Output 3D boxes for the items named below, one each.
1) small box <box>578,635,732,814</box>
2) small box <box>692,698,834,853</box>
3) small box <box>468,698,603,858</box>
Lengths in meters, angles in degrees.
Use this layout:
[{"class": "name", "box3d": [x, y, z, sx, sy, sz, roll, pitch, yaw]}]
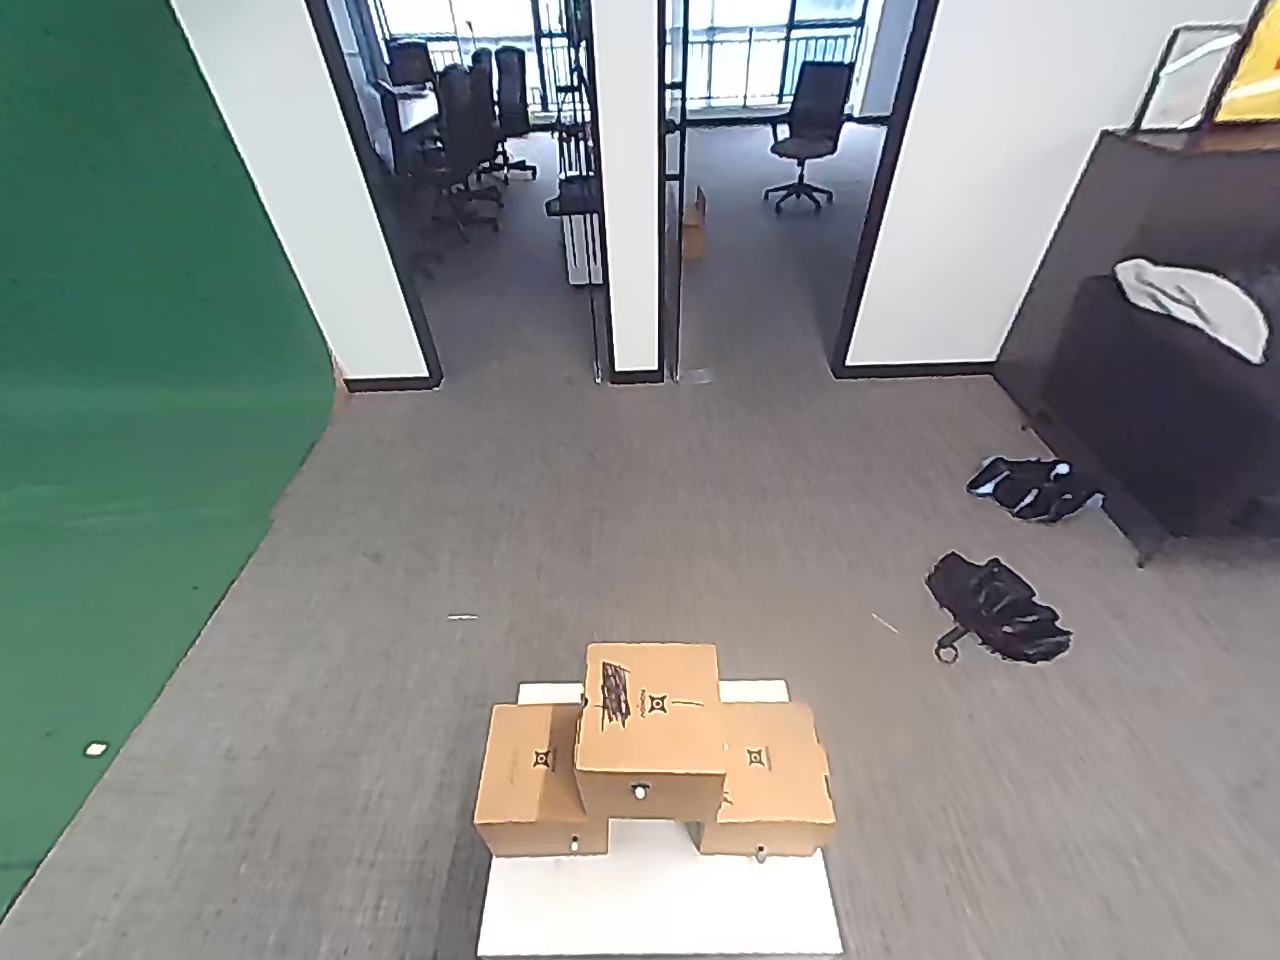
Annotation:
[{"class": "small box", "box3d": [0.017, 0.323, 0.712, 0.179, 0.176, 0.168, 1, 42, -1]}, {"class": "small box", "box3d": [0.170, 0.449, 0.823, 0.179, 0.176, 0.168, 0, 42, 0]}, {"class": "small box", "box3d": [-0.142, 0.448, 0.813, 0.179, 0.176, 0.168, -1, 41, -3]}]
